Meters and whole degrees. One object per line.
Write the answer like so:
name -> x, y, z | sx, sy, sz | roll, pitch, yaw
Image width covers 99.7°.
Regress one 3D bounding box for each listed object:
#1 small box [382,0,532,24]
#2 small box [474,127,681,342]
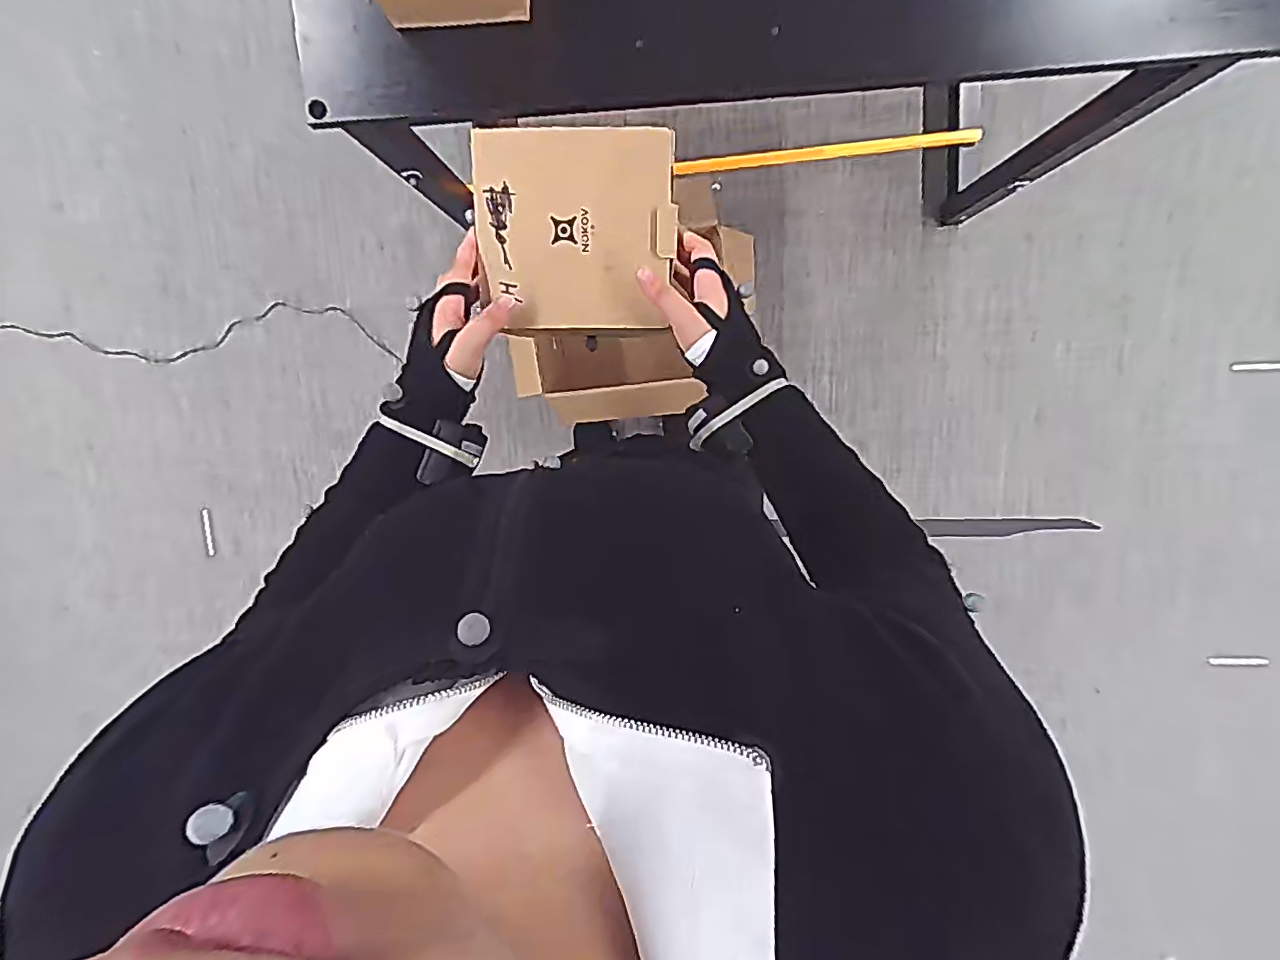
small box -> -0.224, -0.629, 0.575 | 0.179, 0.176, 0.168 | -2, 100, 2
small box -> -0.055, -0.230, 0.546 | 0.179, 0.176, 0.168 | 1, 102, 0
